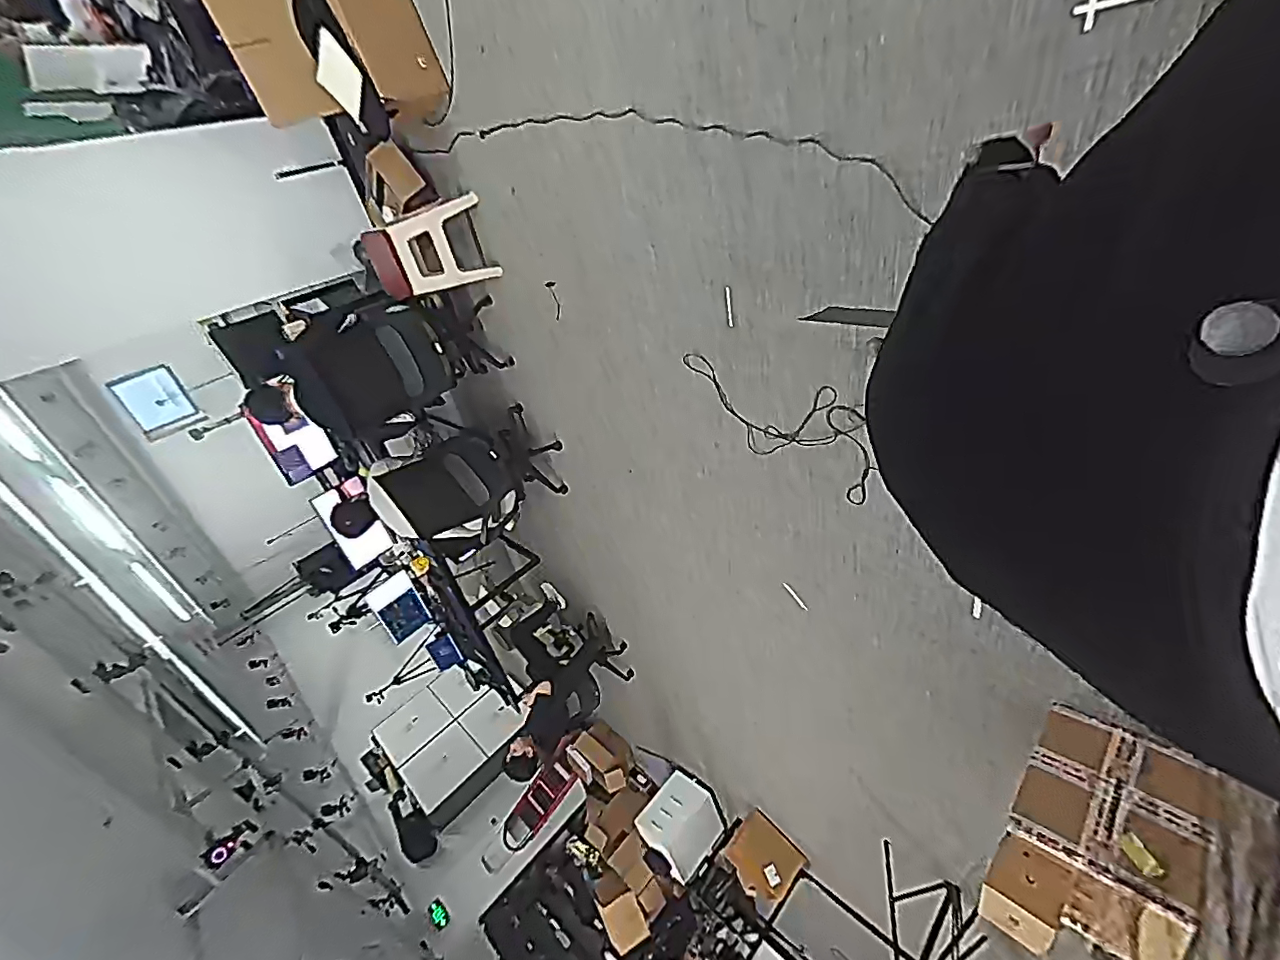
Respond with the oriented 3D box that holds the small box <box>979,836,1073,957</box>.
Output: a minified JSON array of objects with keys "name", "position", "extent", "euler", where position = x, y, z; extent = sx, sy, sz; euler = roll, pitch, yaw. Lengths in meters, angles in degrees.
[{"name":"small box","position":[1.063,1.137,1.488],"extent":[0.168,0.176,0.179],"euler":[19,133,45]}]
